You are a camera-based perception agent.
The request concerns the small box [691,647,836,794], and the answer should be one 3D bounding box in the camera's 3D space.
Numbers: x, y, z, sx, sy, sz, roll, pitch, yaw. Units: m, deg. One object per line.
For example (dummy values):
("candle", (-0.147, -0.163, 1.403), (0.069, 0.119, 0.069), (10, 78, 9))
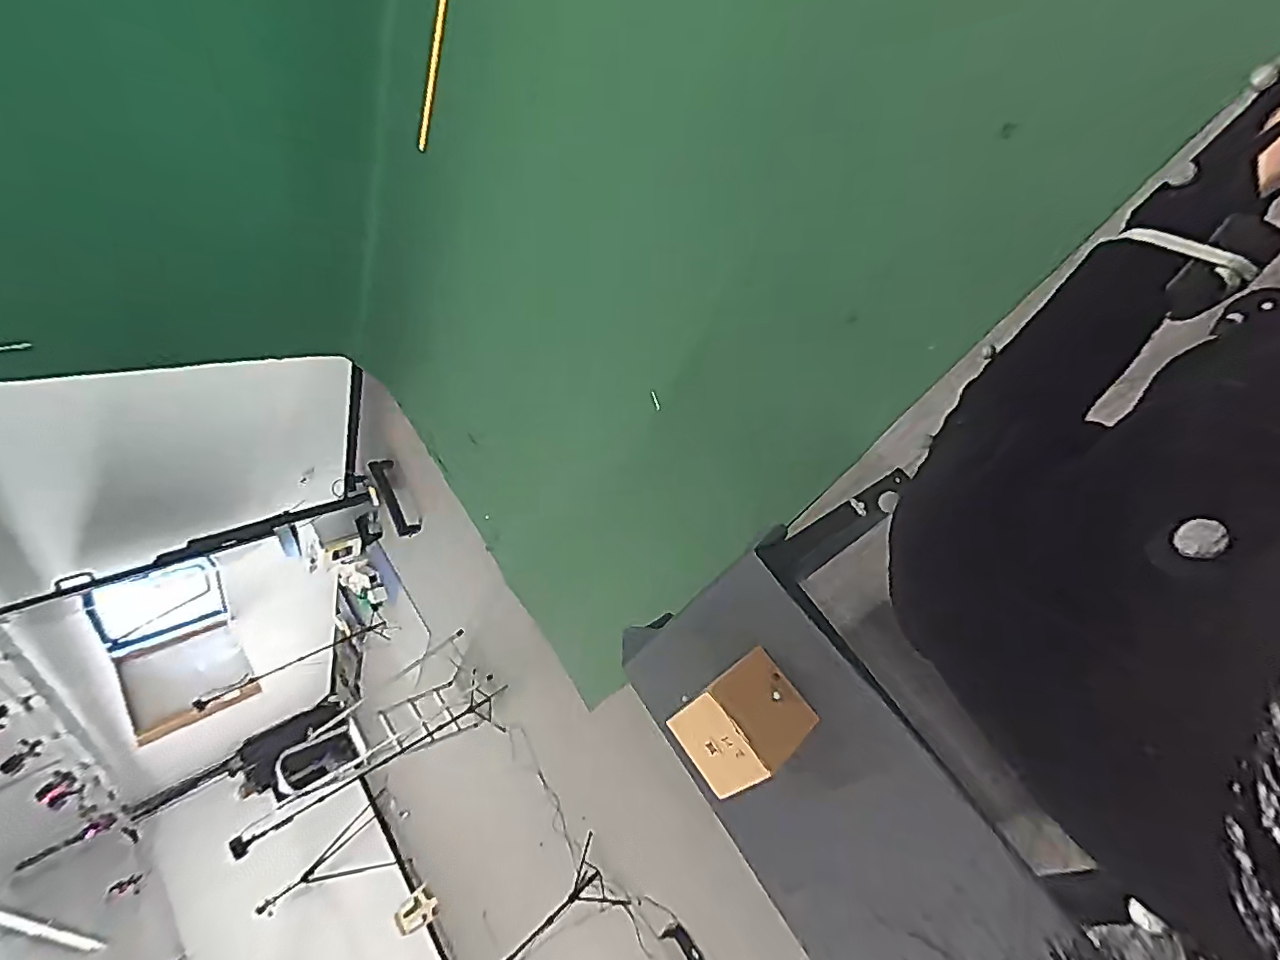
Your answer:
("small box", (0.234, 0.451, 1.025), (0.168, 0.176, 0.179), (51, 137, 21))
